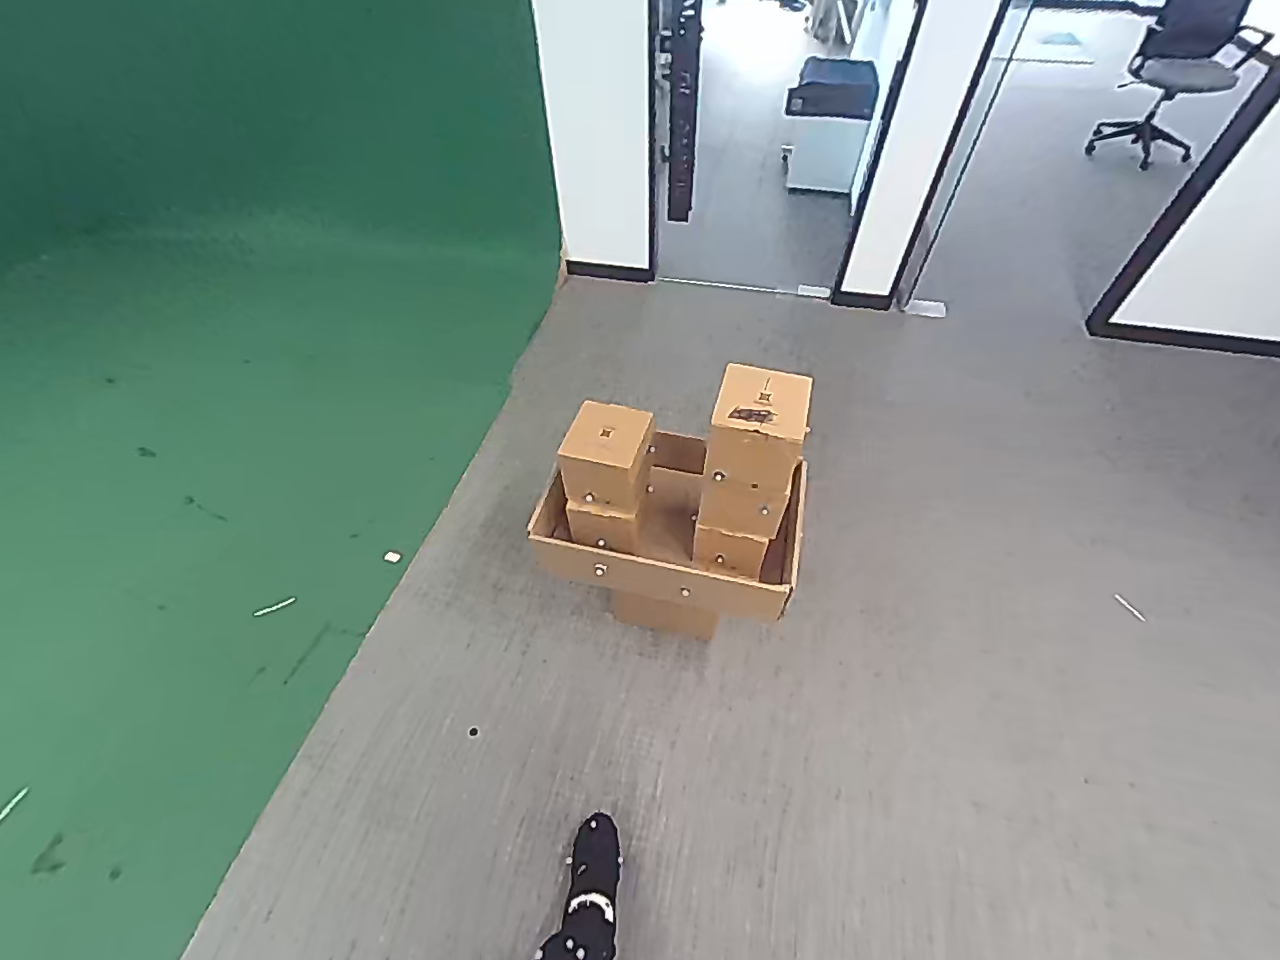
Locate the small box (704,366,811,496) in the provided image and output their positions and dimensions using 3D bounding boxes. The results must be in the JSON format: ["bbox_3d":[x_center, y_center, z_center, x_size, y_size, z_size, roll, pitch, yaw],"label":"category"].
[{"bbox_3d":[0.225,-0.092,1.059,0.168,0.176,0.179,13,51,10],"label":"small box"}]

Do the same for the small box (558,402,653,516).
[{"bbox_3d":[-0.072,-0.048,1.240,0.168,0.176,0.179,13,52,12],"label":"small box"}]
